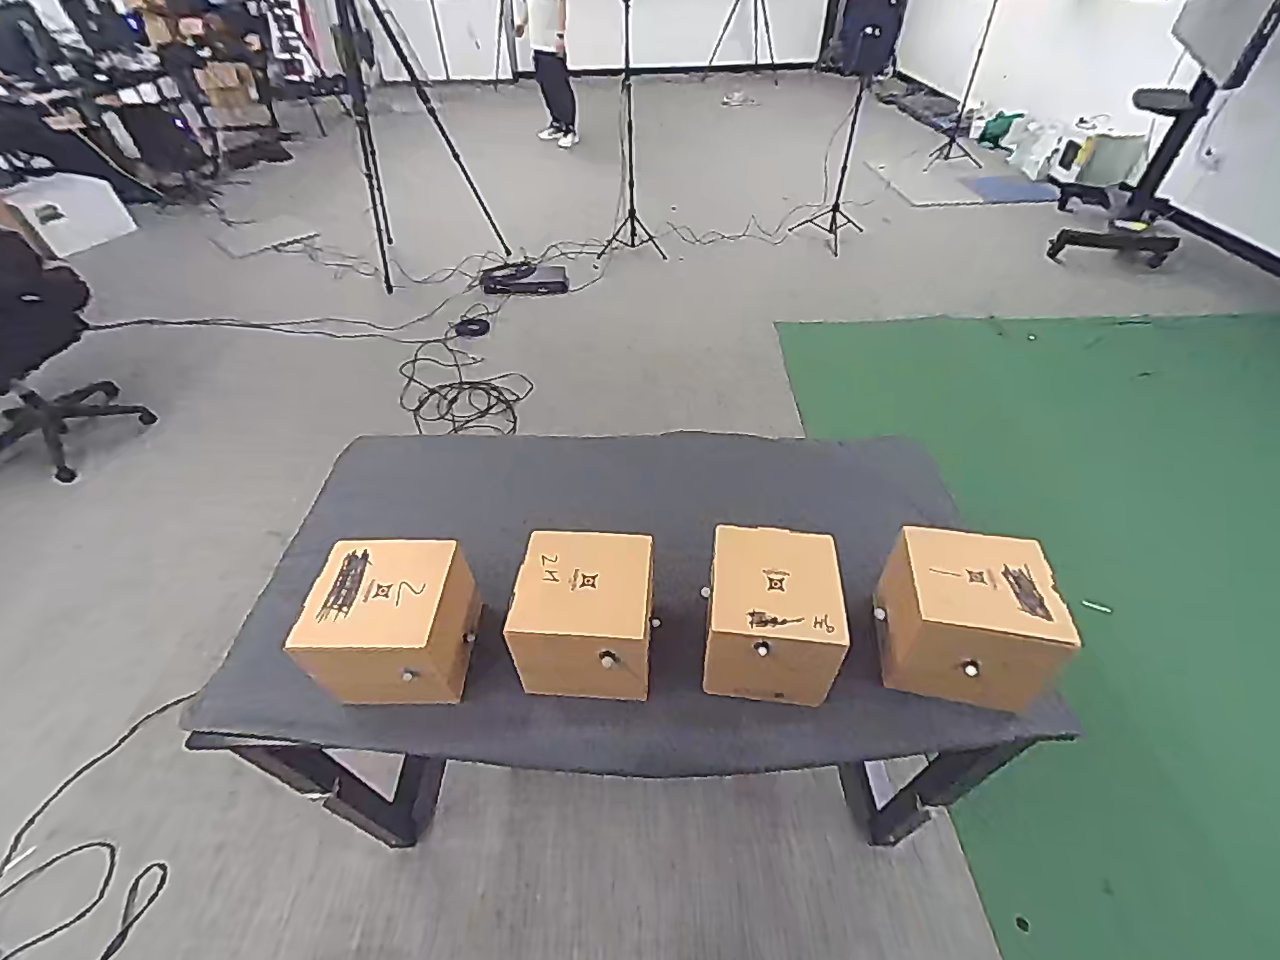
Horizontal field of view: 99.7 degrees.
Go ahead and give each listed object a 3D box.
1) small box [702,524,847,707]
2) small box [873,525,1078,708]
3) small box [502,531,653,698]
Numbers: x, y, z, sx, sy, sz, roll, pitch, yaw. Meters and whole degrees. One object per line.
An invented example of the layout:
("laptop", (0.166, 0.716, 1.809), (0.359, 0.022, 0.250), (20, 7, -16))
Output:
("small box", (0.177, 0.188, 0.758), (0.168, 0.176, 0.179), (5, 43, 7))
("small box", (0.438, 0.188, 0.743), (0.179, 0.176, 0.168), (7, 42, 11))
("small box", (-0.073, 0.191, 0.764), (0.179, 0.176, 0.168), (1, 44, 5))
